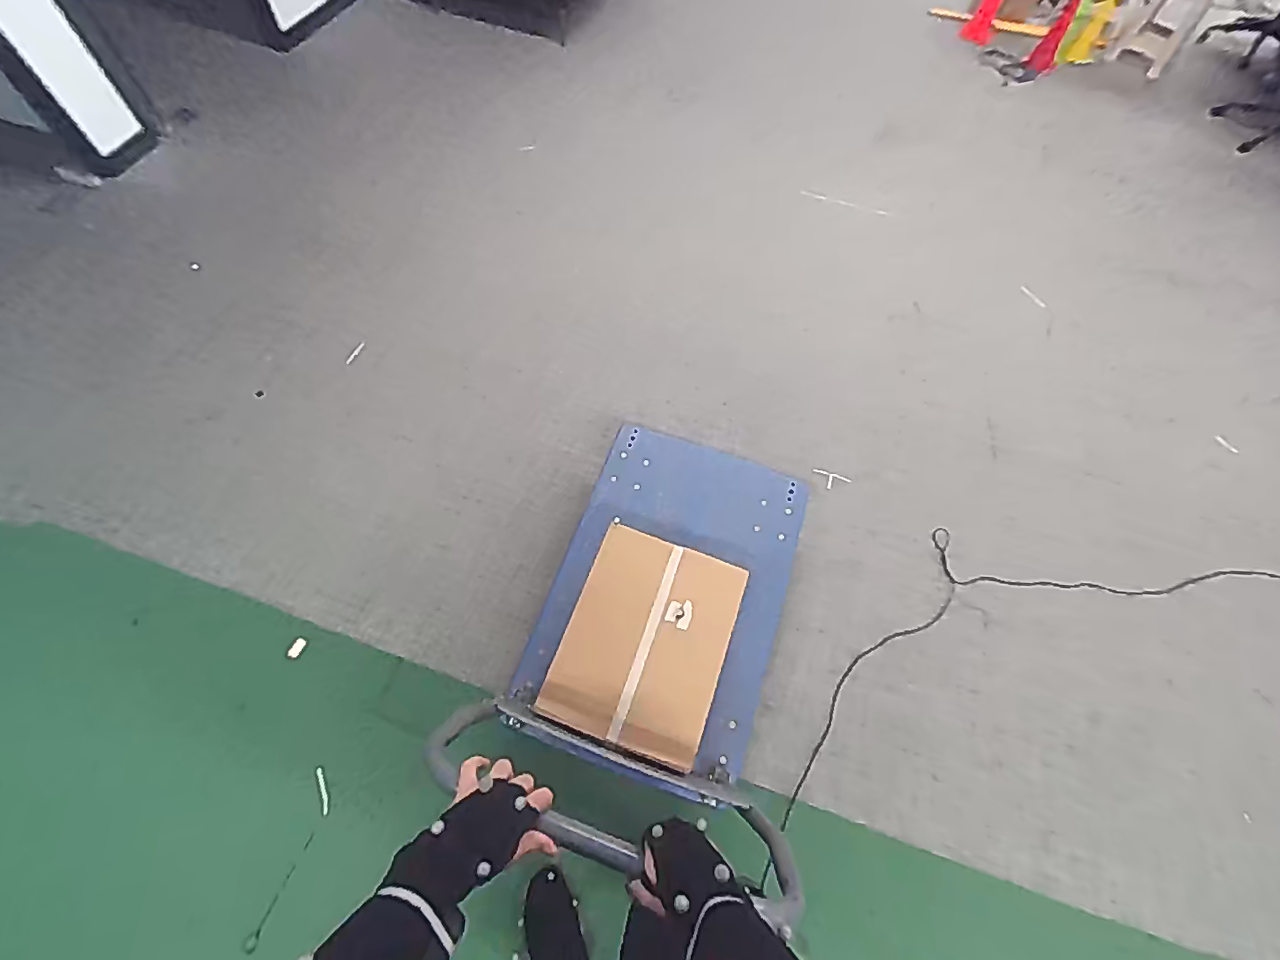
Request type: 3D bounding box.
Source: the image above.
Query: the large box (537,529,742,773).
[{"bbox_3d":[0.004,0.385,1.210,0.320,0.320,0.408,20,65,5],"label":"large box"}]
